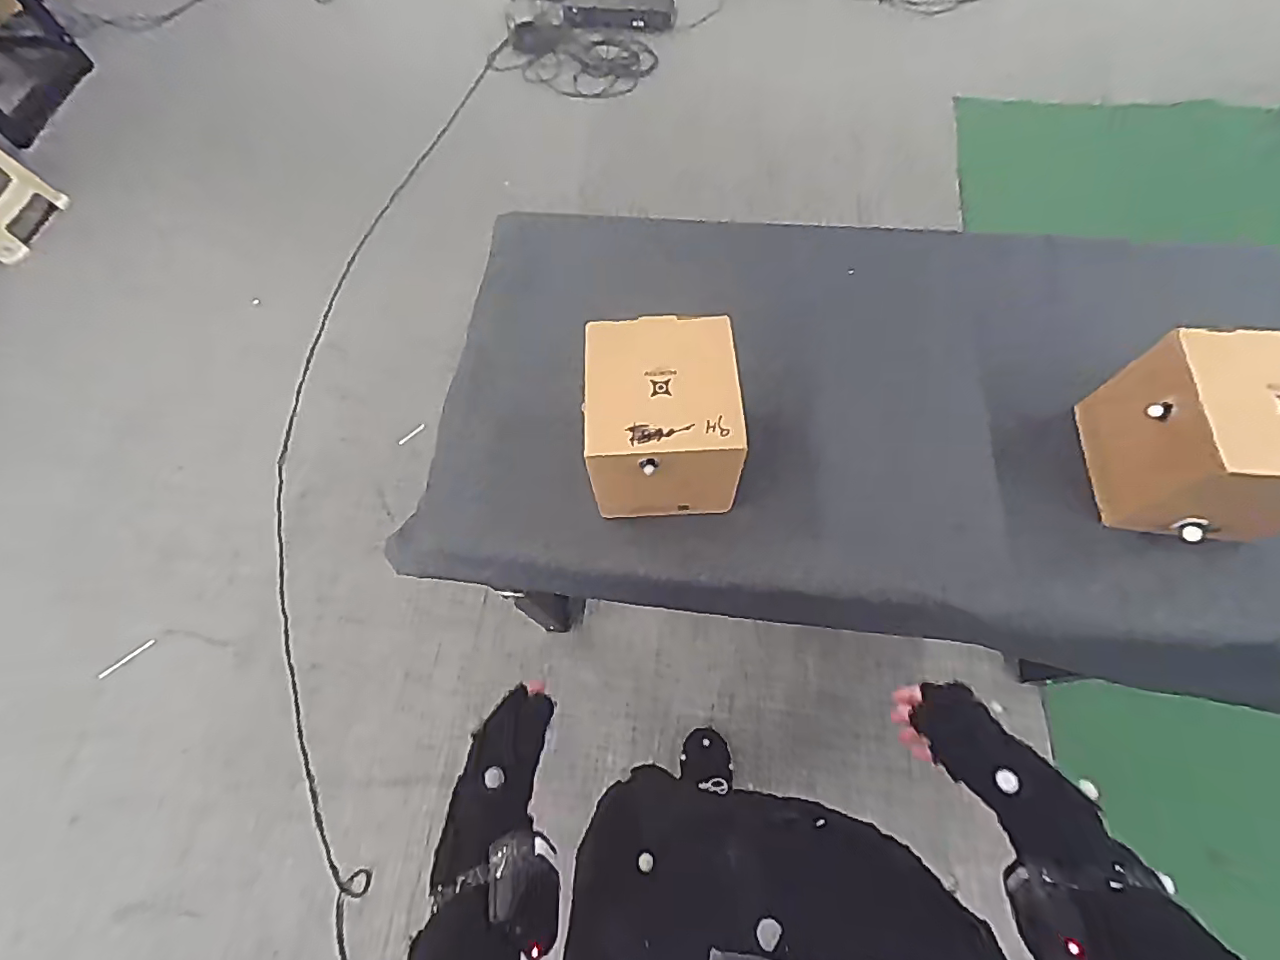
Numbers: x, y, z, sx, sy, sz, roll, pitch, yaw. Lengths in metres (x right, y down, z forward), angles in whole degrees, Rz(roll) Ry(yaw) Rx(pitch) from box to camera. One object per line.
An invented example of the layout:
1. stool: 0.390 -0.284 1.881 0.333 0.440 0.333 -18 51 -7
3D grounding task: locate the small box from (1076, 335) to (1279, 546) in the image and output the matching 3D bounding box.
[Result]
1. small box: 0.644 -0.039 0.614 0.168 0.176 0.179 5 67 7

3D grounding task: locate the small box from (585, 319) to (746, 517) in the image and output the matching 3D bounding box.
1. small box: 0.028 -0.069 0.654 0.168 0.176 0.179 -3 63 2
